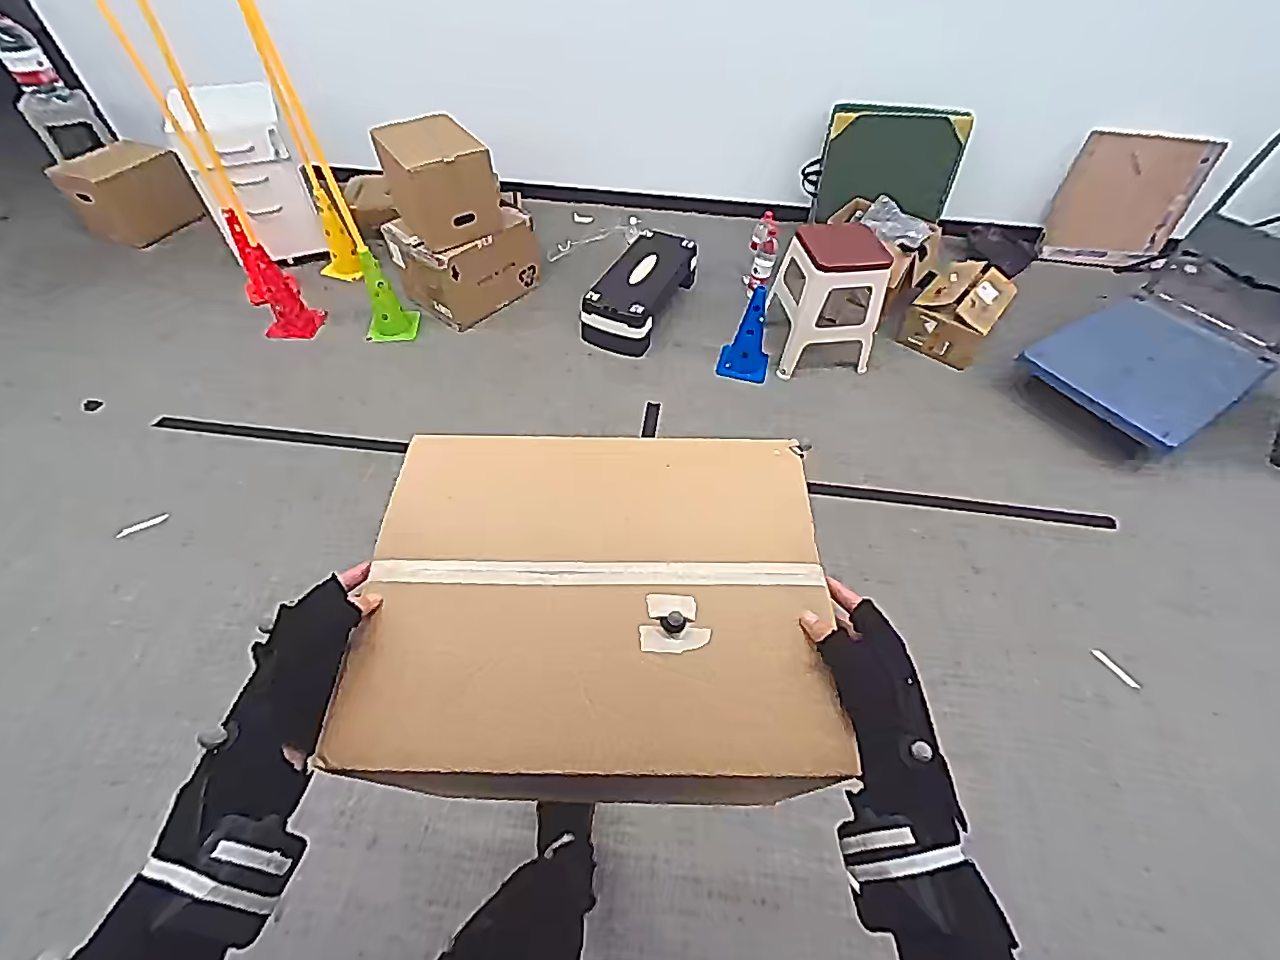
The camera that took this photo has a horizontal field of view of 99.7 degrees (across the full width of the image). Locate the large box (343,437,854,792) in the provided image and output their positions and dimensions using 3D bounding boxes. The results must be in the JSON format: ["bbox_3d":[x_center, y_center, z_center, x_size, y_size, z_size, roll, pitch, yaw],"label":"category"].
[{"bbox_3d":[-0.034,0.166,0.620,0.408,0.320,0.320,1,56,0],"label":"large box"}]
